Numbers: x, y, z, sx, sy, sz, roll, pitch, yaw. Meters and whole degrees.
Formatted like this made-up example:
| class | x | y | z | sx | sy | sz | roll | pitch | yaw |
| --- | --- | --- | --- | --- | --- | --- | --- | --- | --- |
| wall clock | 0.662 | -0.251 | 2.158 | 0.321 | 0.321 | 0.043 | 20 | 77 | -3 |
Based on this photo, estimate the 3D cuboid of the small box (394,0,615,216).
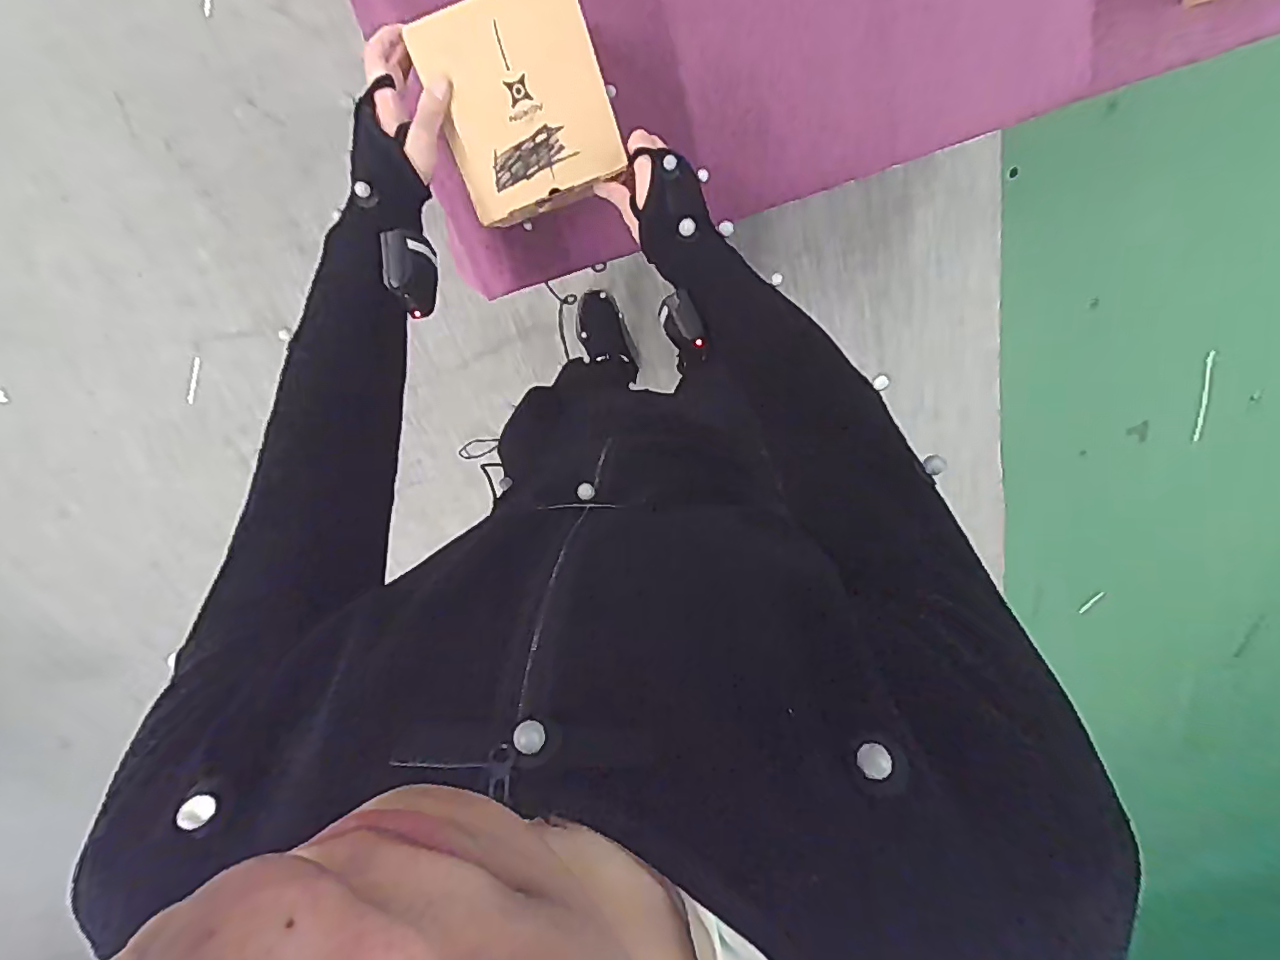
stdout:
| class | x | y | z | sx | sy | sz | roll | pitch | yaw |
| --- | --- | --- | --- | --- | --- | --- | --- | --- | --- |
| small box | -0.130 | -0.413 | 0.601 | 0.168 | 0.176 | 0.179 | -18 | 115 | 5 |
